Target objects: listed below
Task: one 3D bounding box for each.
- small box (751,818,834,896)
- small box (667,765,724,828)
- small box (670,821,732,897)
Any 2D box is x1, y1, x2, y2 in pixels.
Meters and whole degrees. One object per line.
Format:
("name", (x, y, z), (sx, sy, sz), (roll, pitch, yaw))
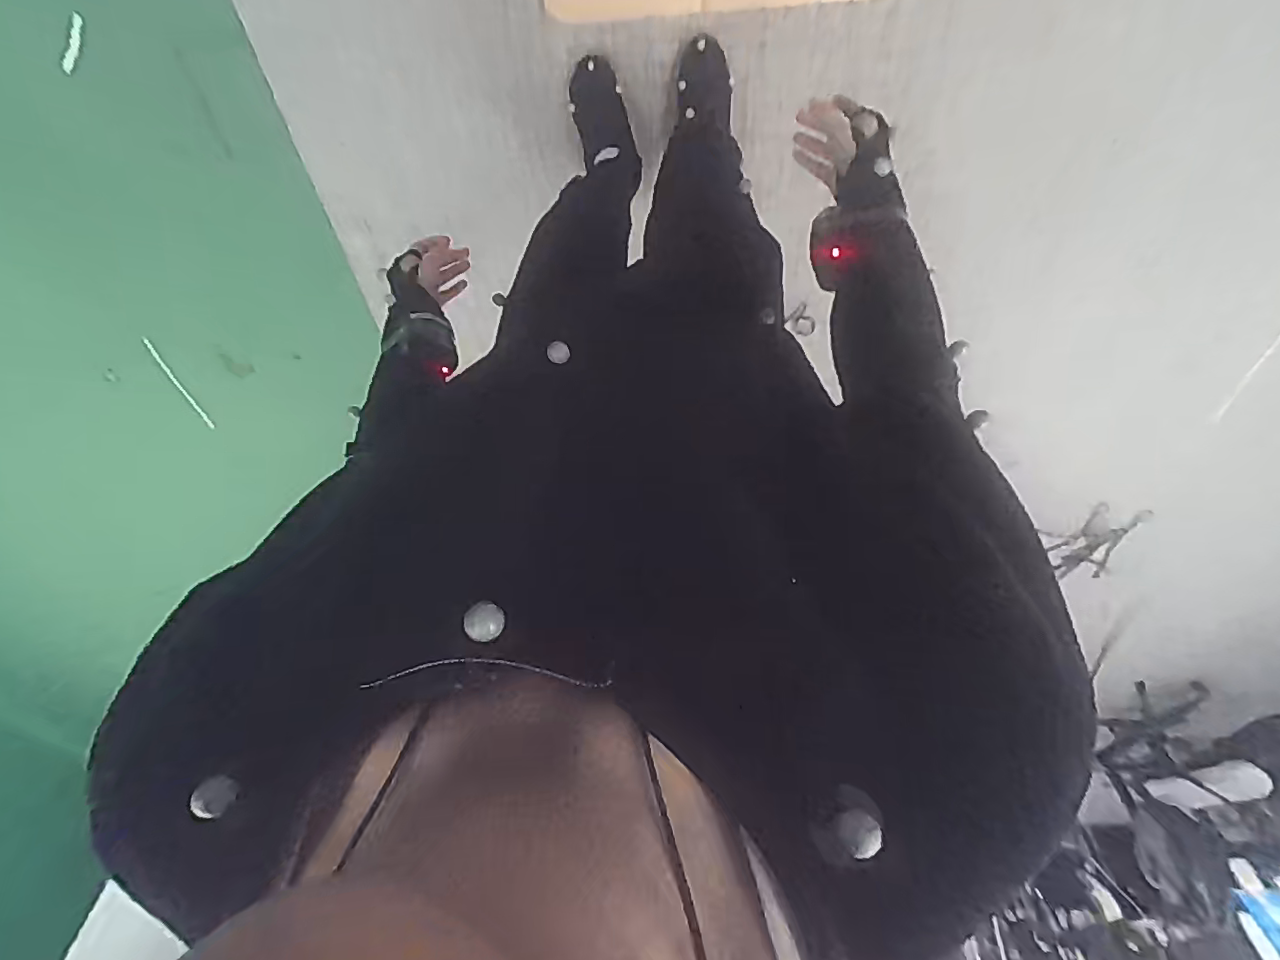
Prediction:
("small box", (0.464, 1.161, 1.666), (0.179, 0.176, 0.168), (-30, 128, 27))
("small box", (0.179, 1.065, 1.796), (0.168, 0.176, 0.179), (-2, 135, -1))
("small box", (0.181, 1.167, 1.669), (0.168, 0.176, 0.179), (-3, 136, -1))
